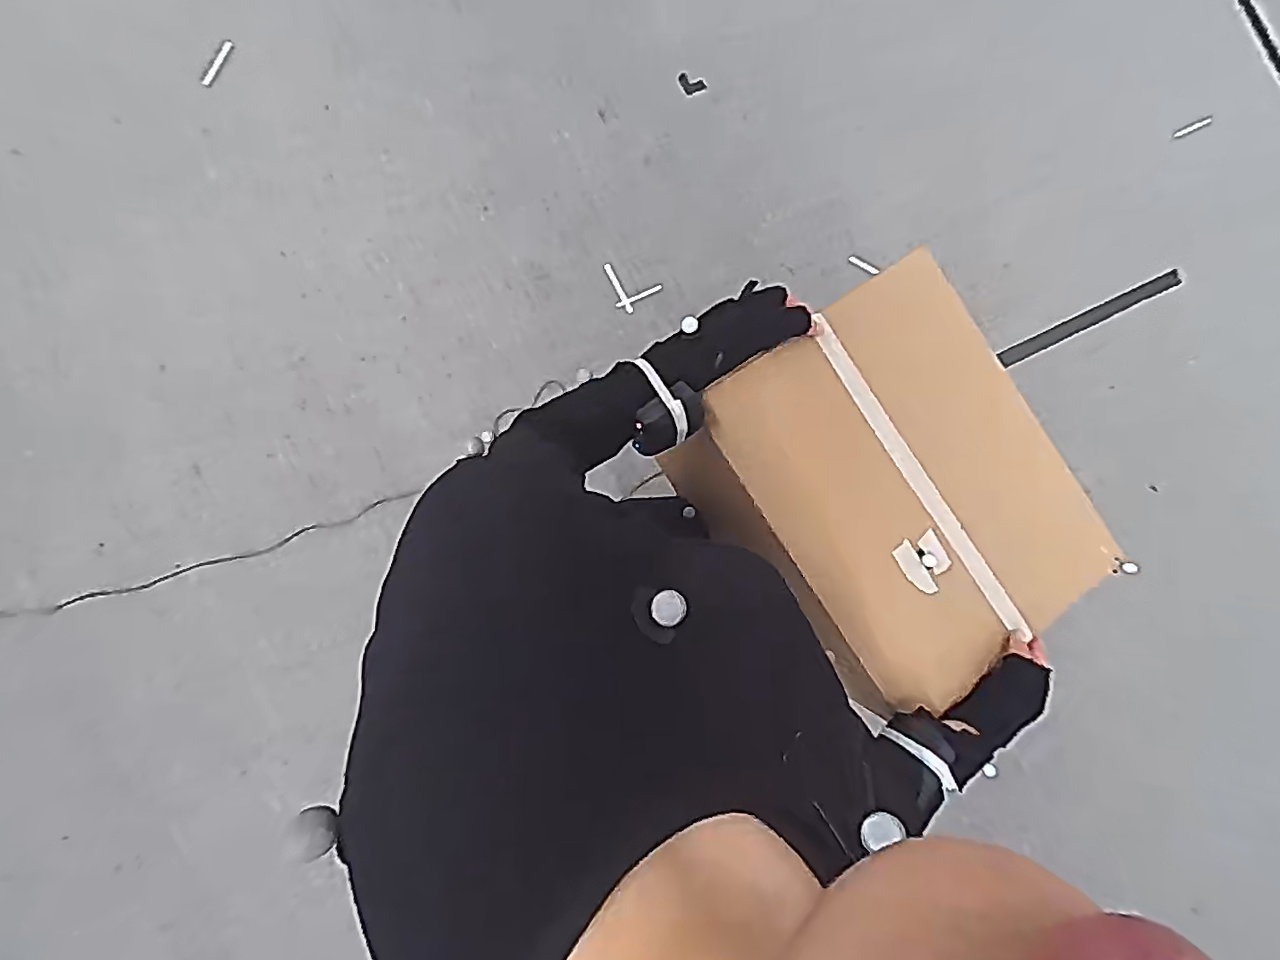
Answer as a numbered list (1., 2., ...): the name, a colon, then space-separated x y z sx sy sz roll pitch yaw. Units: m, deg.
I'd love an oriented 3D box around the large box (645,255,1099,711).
1. large box: 0.259 0.004 0.721 0.320 0.320 0.408 -34 92 -9
